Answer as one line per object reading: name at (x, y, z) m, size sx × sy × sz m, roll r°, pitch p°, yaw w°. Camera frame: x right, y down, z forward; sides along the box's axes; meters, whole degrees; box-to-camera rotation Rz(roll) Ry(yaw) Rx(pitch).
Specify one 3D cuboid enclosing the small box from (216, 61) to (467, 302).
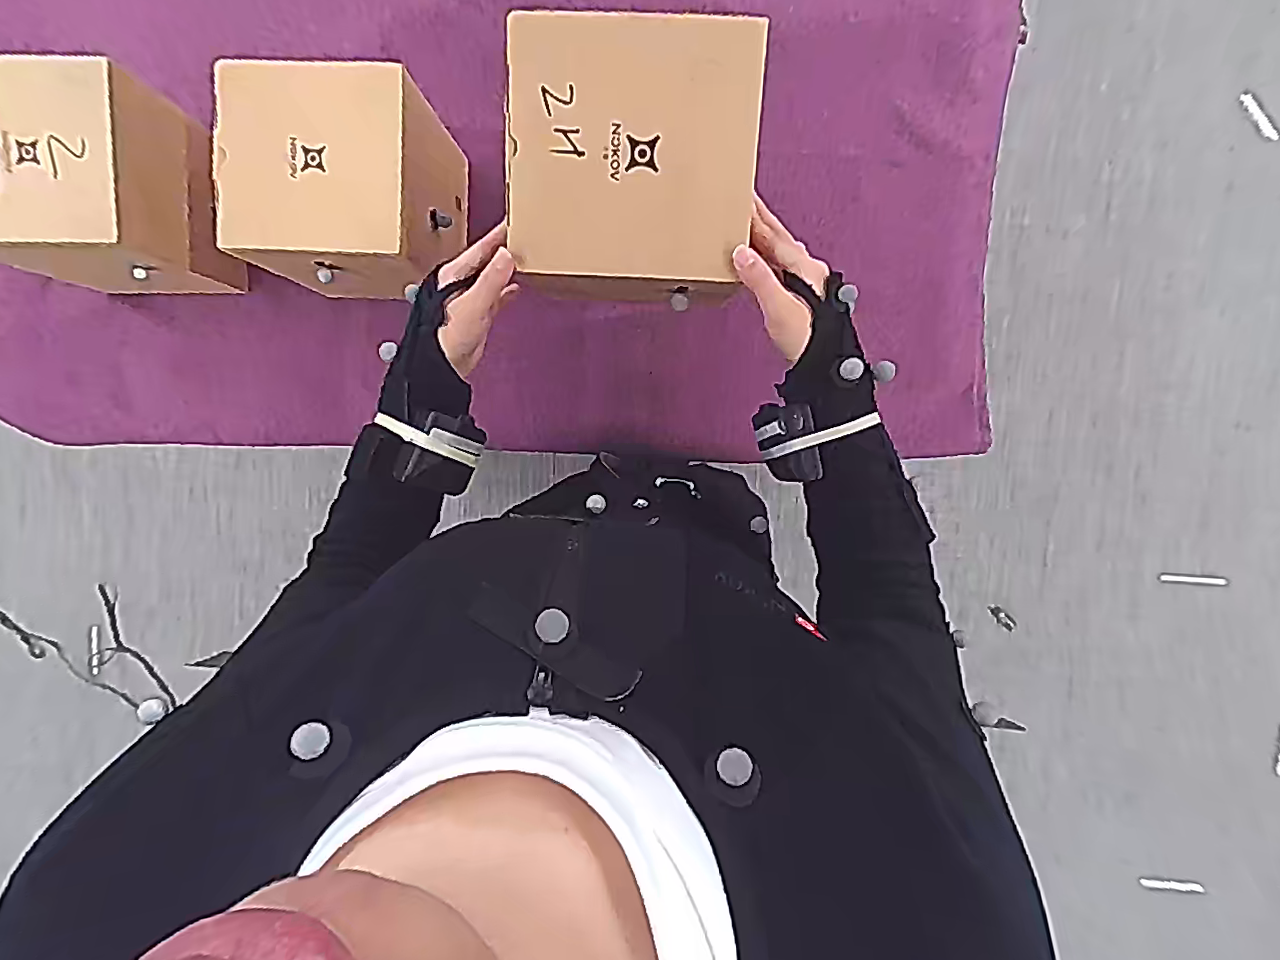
small box at (-0.292, -0.291, 0.564) m, size 0.179 × 0.176 × 0.168 m, roll 4°, pitch 94°, yaw 2°

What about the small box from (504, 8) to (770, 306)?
small box at (-0.003, -0.241, 0.449) m, size 0.179 × 0.176 × 0.168 m, roll 4°, pitch 101°, yaw 3°
